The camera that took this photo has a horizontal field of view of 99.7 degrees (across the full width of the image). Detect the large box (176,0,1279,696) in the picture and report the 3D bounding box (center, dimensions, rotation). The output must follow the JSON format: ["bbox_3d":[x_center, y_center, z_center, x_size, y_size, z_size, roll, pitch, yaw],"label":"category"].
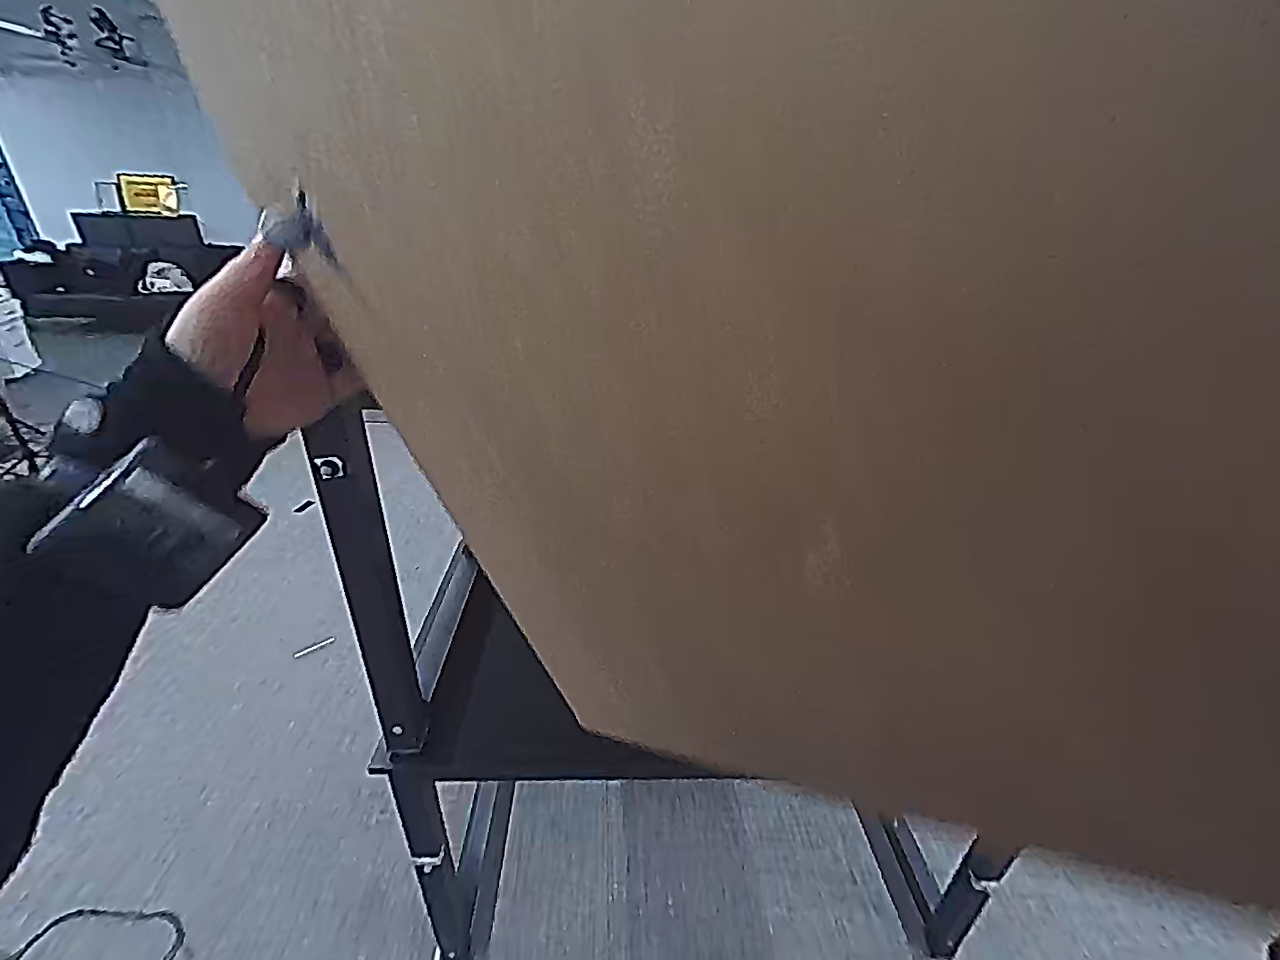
[{"bbox_3d":[0.019,-0.170,0.238,0.320,0.320,0.408,-31,79,-25],"label":"large box"}]
